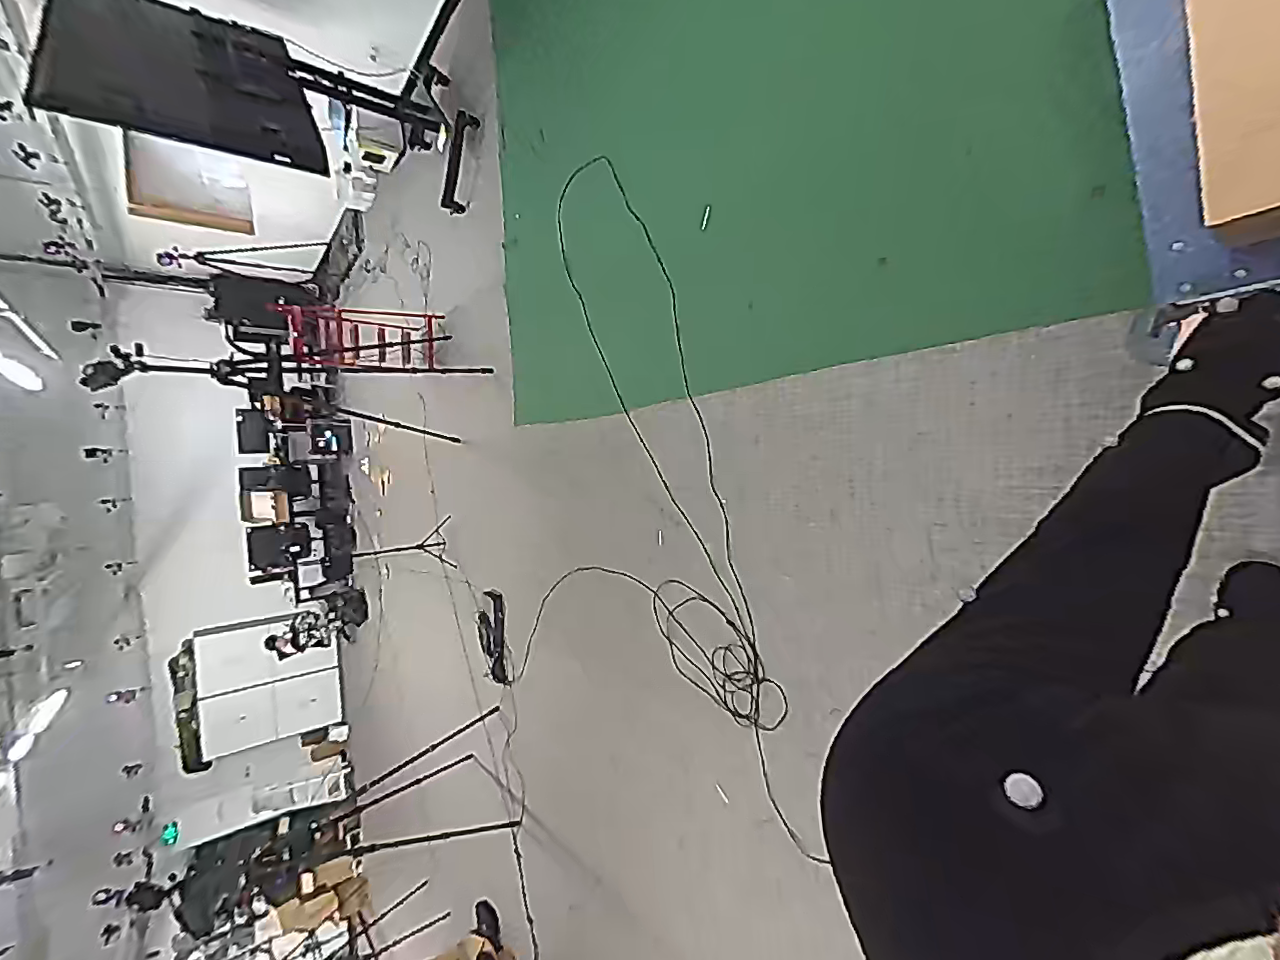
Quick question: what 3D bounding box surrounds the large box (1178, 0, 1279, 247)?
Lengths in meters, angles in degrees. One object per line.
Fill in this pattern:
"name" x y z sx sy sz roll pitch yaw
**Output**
"large box" 0.992 -0.591 0.740 0.320 0.320 0.408 -5 95 51
